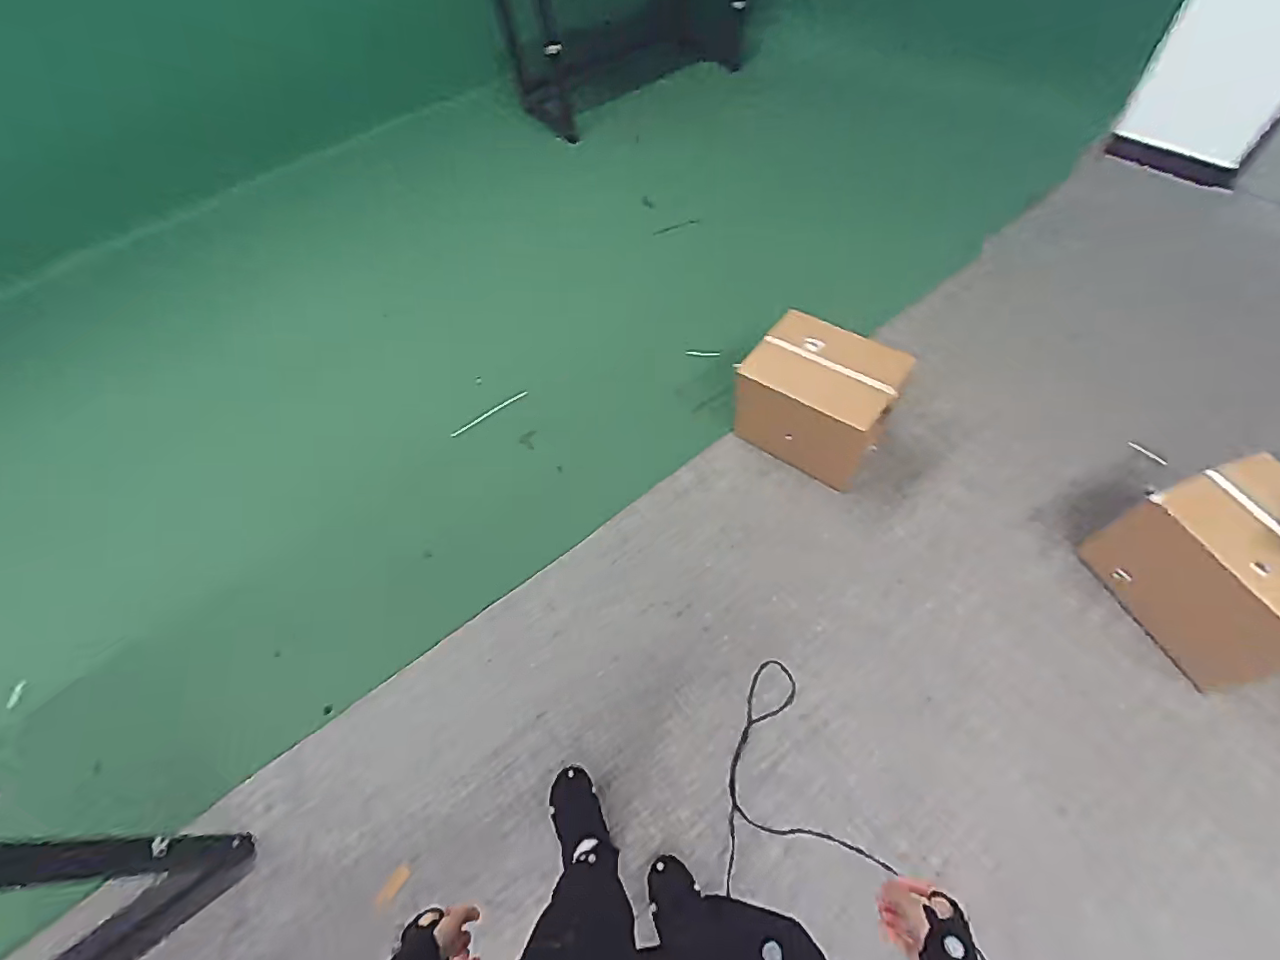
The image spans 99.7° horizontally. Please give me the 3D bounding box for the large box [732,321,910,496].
[{"bbox_3d":[0.535,-0.218,1.665,0.408,0.320,0.320,31,65,26],"label":"large box"}]
